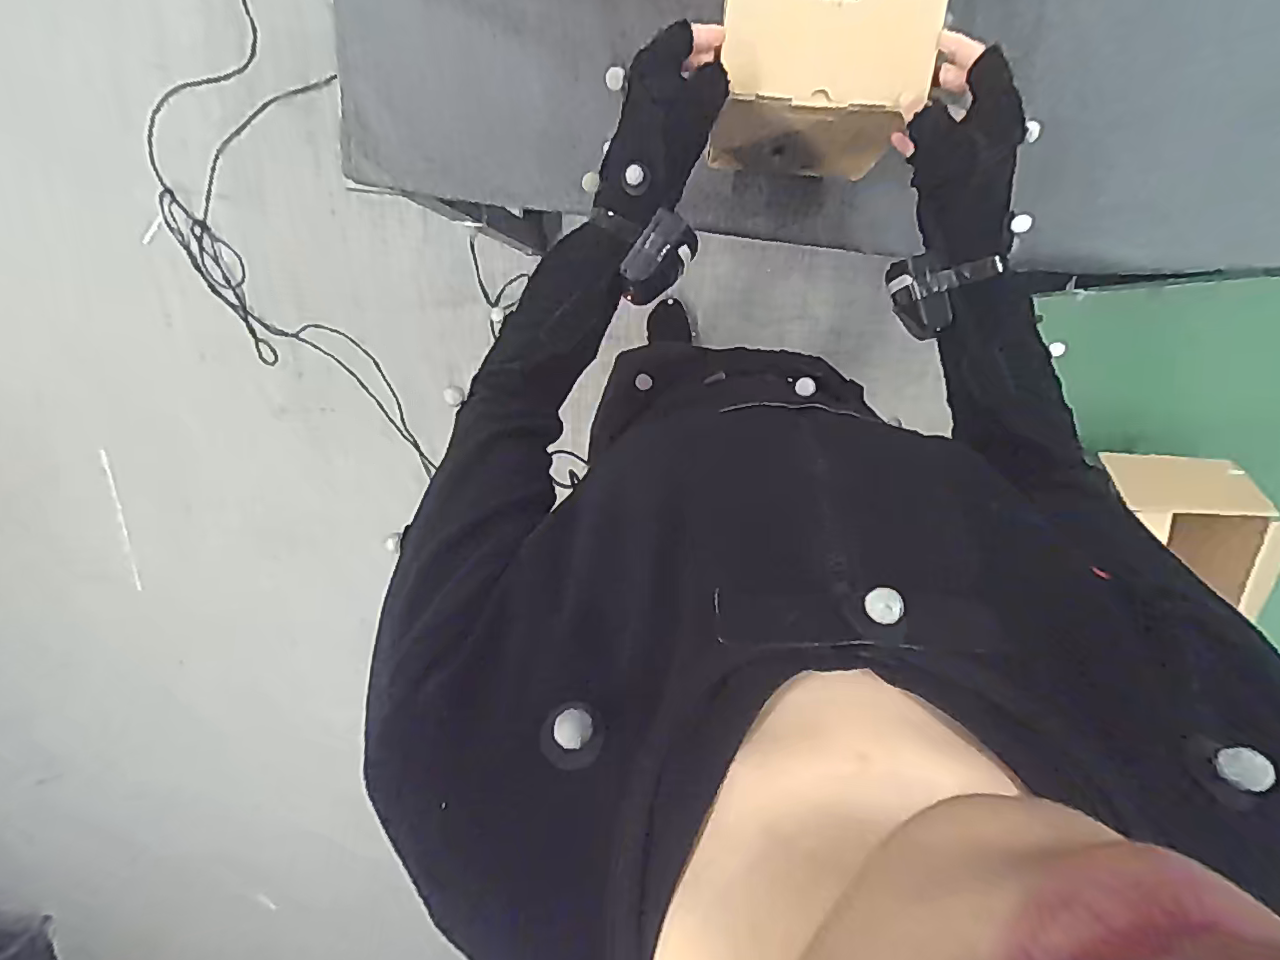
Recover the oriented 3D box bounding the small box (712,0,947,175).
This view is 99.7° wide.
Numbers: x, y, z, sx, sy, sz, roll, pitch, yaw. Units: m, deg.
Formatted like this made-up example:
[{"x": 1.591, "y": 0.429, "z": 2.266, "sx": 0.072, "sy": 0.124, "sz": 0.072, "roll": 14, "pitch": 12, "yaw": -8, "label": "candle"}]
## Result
[{"x": 0.159, "y": -0.403, "z": 0.487, "sx": 0.168, "sy": 0.176, "sz": 0.179, "roll": 7, "pitch": 104, "yaw": 3, "label": "small box"}]
